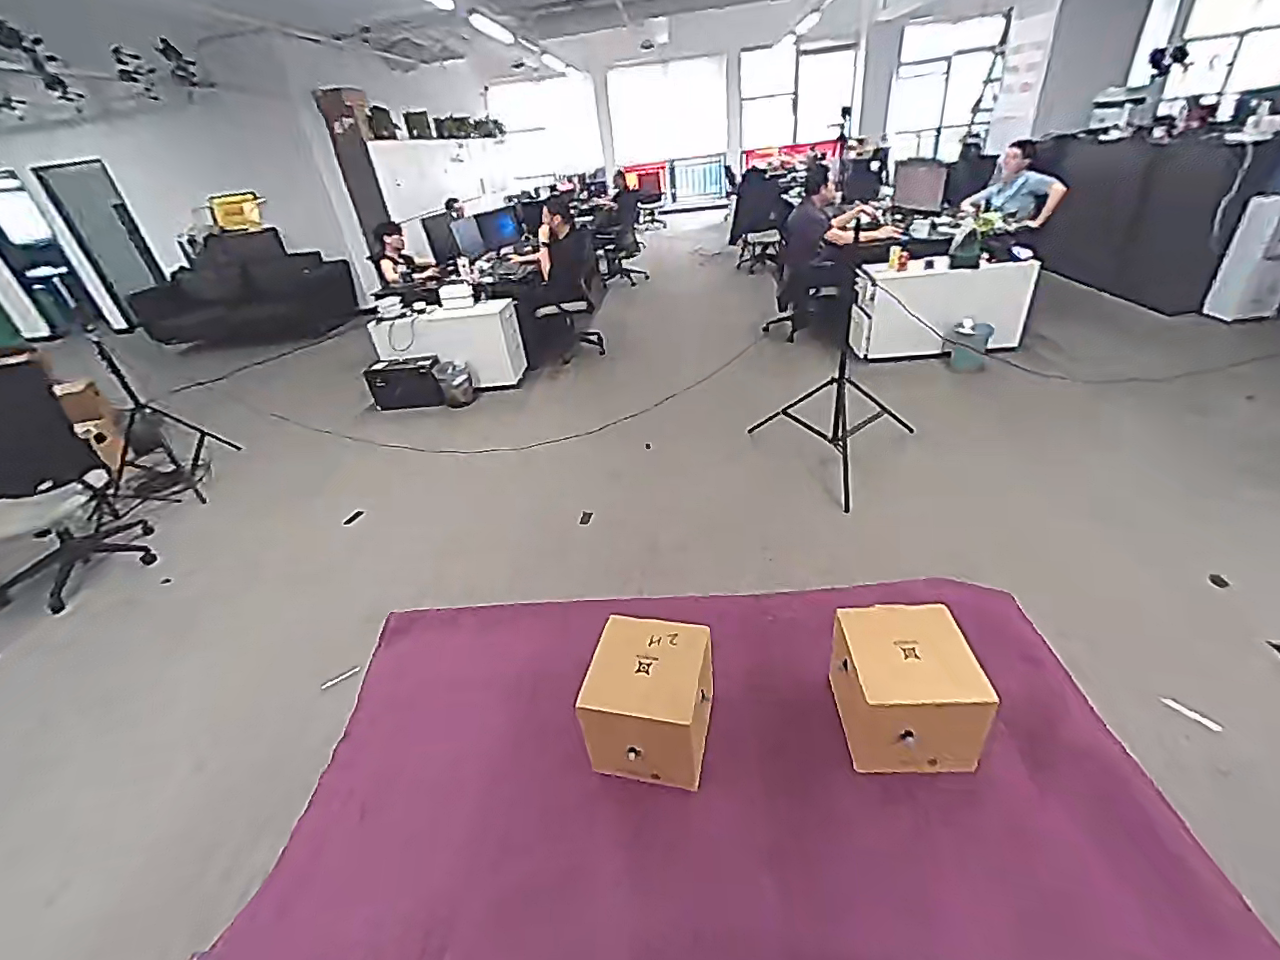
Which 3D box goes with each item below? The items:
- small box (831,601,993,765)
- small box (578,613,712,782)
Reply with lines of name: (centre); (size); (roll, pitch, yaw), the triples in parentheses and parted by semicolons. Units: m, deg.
small box: (0.395, 0.309, 0.819); (0.168, 0.176, 0.179); (-4, 31, 7)
small box: (0.020, 0.338, 0.847); (0.168, 0.176, 0.179); (3, 33, 15)
